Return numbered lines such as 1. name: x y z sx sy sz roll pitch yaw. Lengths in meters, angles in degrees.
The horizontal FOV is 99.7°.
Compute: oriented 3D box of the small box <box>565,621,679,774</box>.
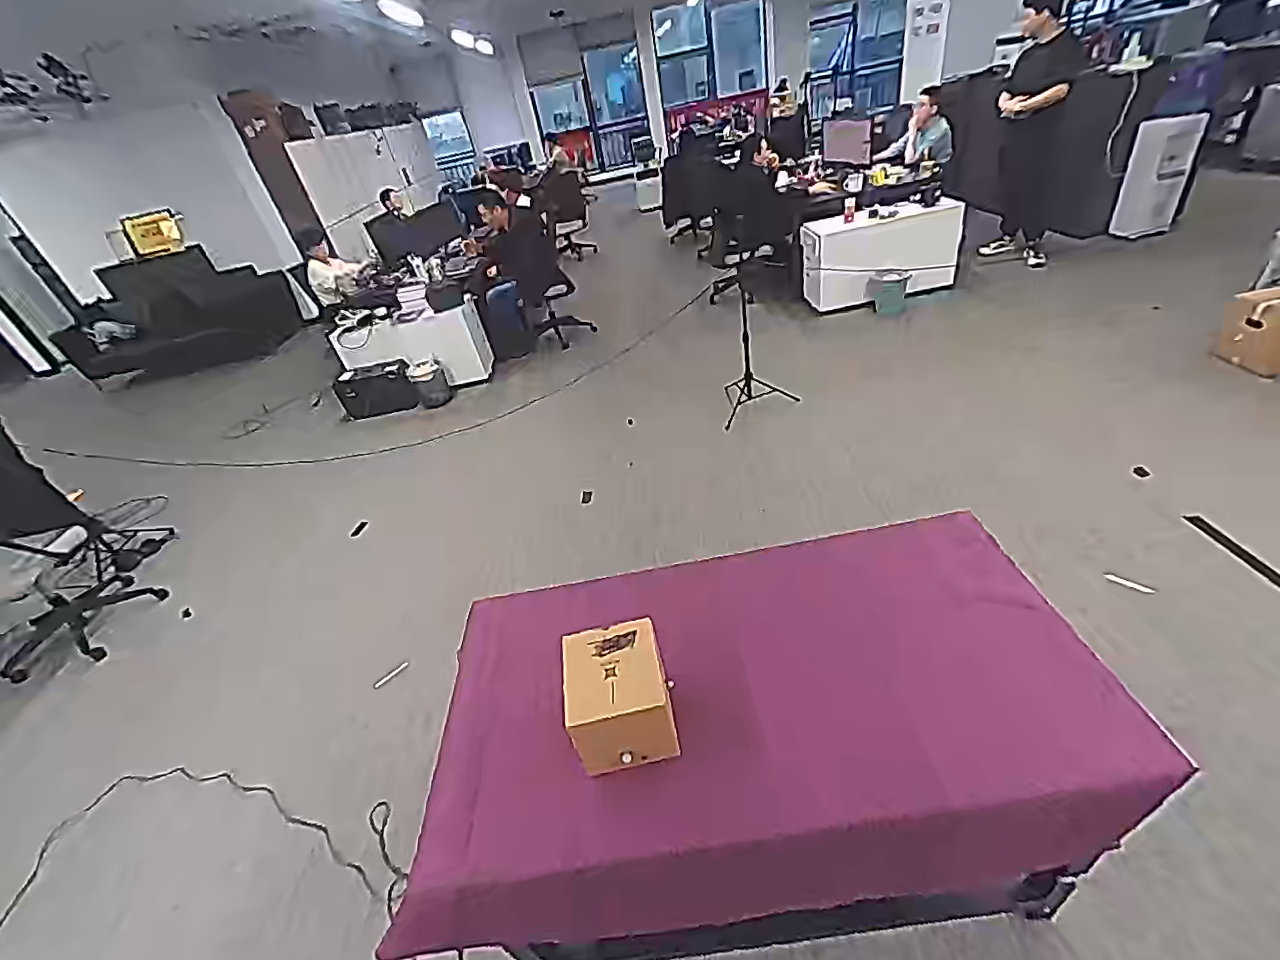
1. small box: -0.033 0.386 0.966 0.168 0.176 0.179 -13 36 0
